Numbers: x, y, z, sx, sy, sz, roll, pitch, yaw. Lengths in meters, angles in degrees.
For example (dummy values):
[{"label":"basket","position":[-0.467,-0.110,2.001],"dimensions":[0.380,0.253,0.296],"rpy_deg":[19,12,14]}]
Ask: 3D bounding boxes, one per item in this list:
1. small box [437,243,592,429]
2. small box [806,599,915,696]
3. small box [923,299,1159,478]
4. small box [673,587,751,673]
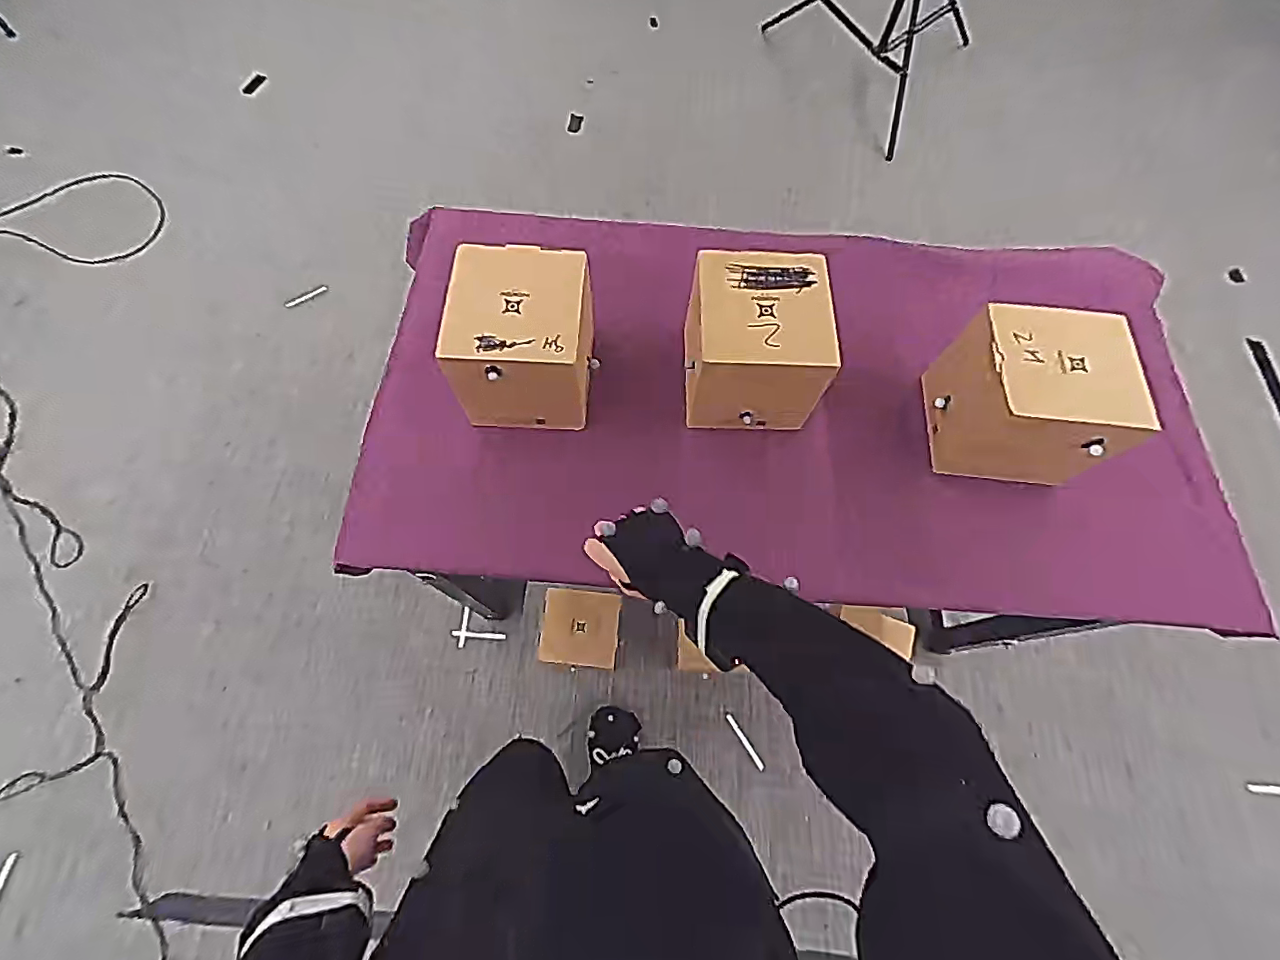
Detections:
[{"label":"small box","position":[-0.154,-0.188,0.731],"dimensions":[0.168,0.176,0.179],"rpy_deg":[2,67,-1]},{"label":"small box","position":[0.522,0.403,1.295],"dimensions":[0.179,0.176,0.168],"rpy_deg":[19,69,8]},{"label":"small box","position":[0.509,-0.112,0.717],"dimensions":[0.179,0.176,0.168],"rpy_deg":[5,66,1]},{"label":"small box","position":[0.168,0.364,1.300],"dimensions":[0.168,0.176,0.179],"rpy_deg":[3,68,0]}]
